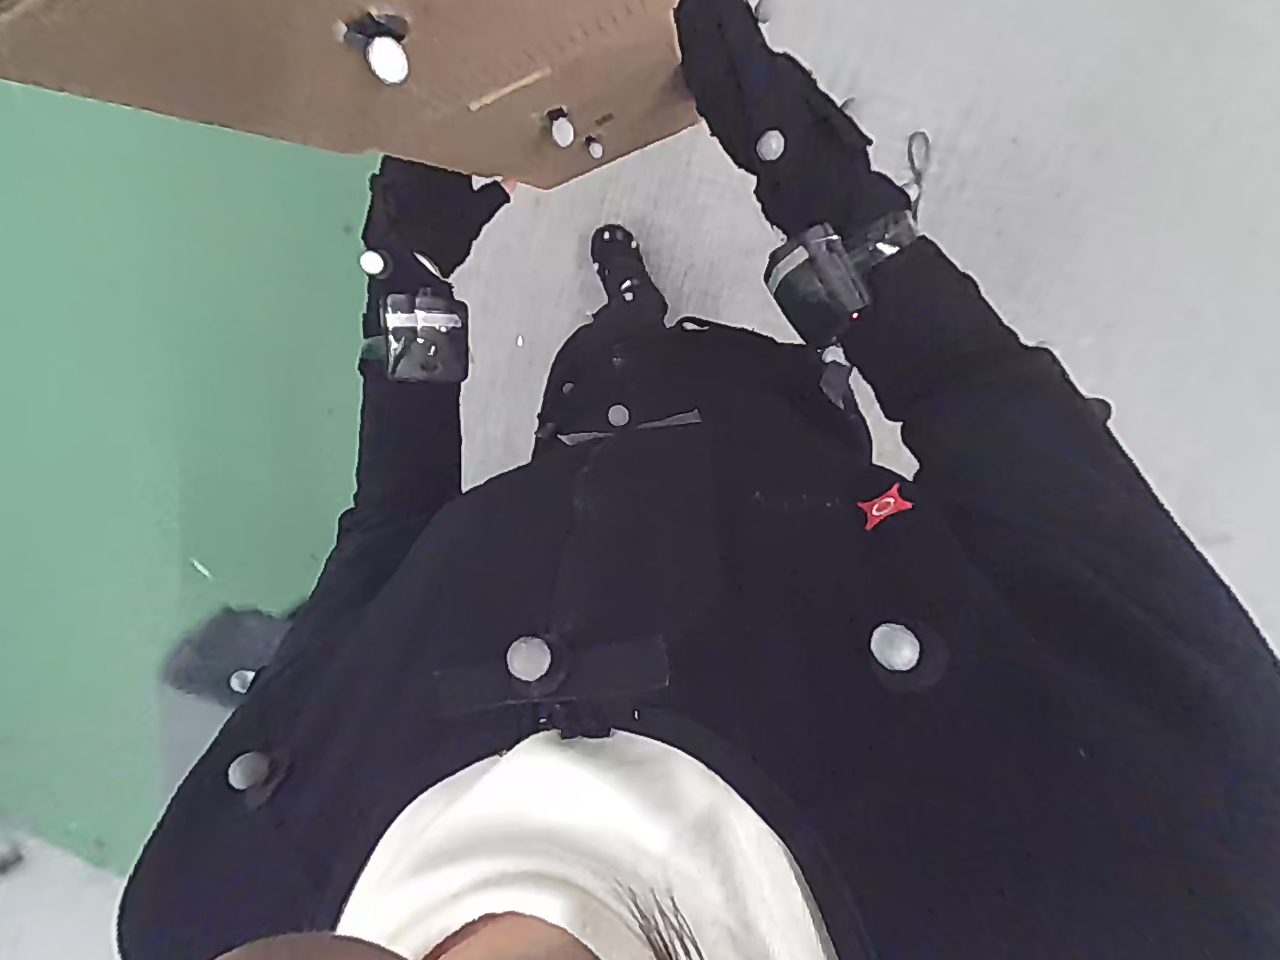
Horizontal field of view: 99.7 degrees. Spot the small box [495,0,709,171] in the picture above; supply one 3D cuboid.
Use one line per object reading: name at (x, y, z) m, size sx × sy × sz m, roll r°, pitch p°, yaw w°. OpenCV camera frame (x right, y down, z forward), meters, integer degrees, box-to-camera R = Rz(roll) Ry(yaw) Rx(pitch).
small box at (-0.046, -0.381, 0.450) m, size 0.179 × 0.176 × 0.168 m, roll -16°, pitch 111°, yaw 14°
